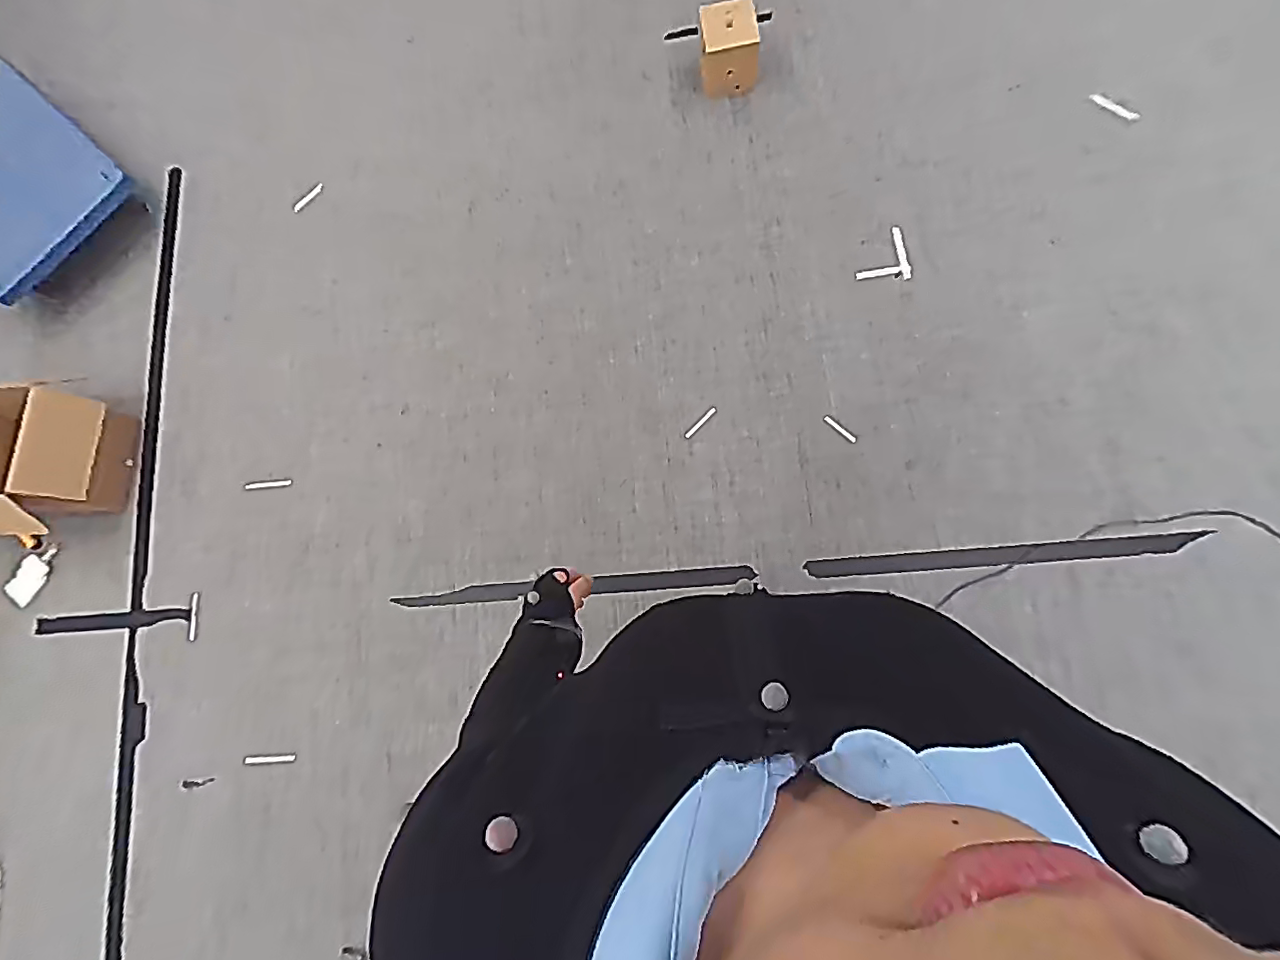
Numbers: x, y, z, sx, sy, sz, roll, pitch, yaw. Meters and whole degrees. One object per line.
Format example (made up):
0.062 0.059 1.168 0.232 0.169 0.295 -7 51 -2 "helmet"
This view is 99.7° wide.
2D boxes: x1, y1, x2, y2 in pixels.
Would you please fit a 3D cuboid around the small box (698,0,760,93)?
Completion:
0.280 -1.372 1.717 0.168 0.176 0.179 -8 78 4 "small box"
